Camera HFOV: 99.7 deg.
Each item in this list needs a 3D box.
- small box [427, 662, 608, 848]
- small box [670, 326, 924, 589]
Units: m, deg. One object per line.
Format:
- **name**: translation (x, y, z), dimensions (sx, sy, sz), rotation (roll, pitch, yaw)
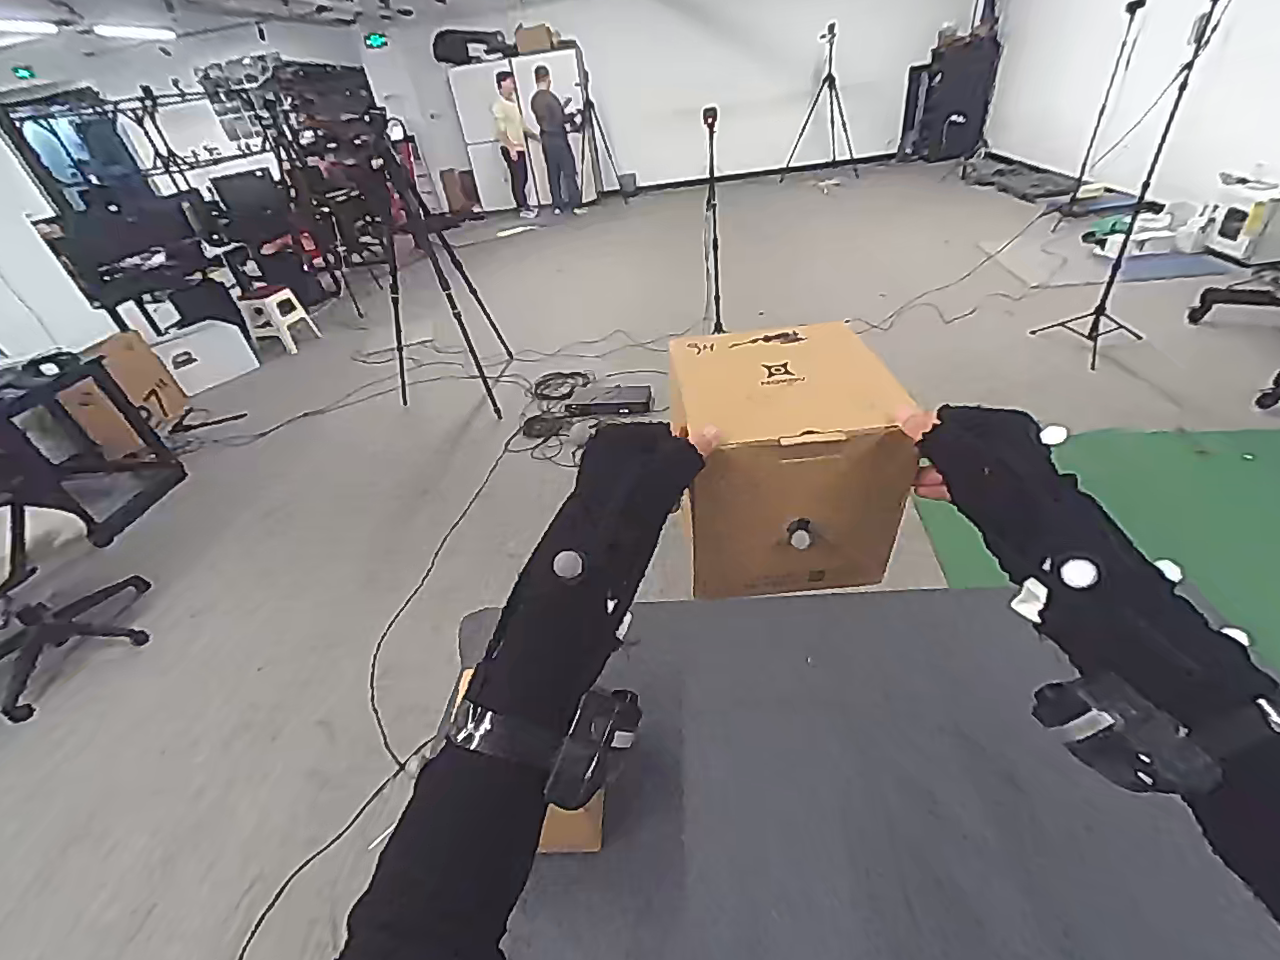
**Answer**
- **small box**: translation (-0.145, 0.362, 0.711), dimensions (0.179, 0.176, 0.168), rotation (-4, 37, 4)
- **small box**: translation (0.118, -0.017, 0.482), dimensions (0.168, 0.176, 0.179), rotation (-5, 39, 1)
